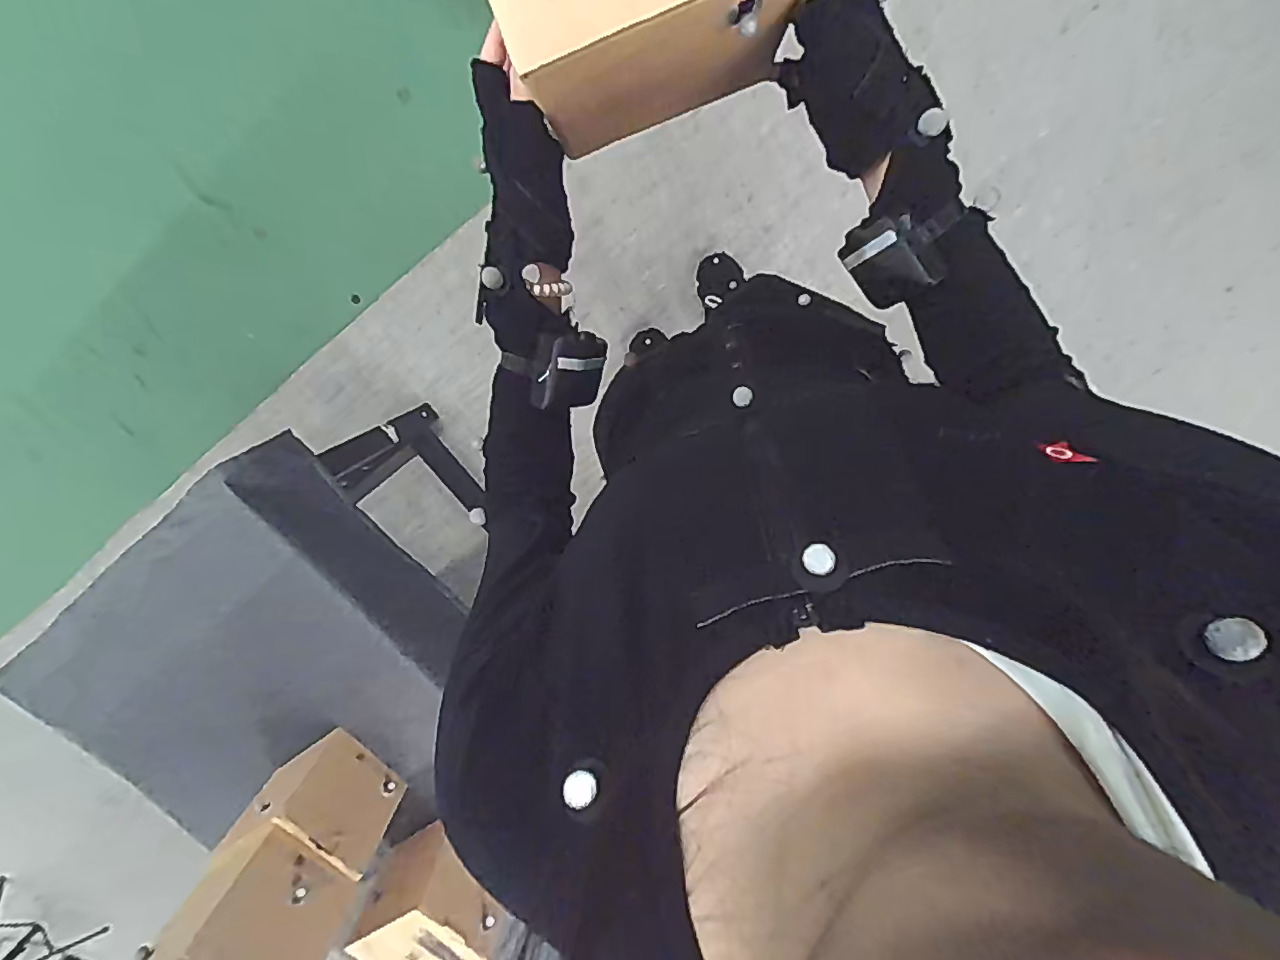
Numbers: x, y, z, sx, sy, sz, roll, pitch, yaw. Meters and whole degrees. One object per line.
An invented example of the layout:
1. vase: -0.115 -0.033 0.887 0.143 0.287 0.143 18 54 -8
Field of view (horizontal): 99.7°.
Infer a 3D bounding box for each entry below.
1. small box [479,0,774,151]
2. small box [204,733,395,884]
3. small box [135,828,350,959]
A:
1. small box: -0.016 -0.344 0.342 0.179 0.176 0.168 -19 105 7
2. small box: -0.532 0.554 0.879 0.179 0.176 0.168 -35 104 13
3. small box: -0.541 0.625 0.731 0.179 0.176 0.168 -37 104 13
